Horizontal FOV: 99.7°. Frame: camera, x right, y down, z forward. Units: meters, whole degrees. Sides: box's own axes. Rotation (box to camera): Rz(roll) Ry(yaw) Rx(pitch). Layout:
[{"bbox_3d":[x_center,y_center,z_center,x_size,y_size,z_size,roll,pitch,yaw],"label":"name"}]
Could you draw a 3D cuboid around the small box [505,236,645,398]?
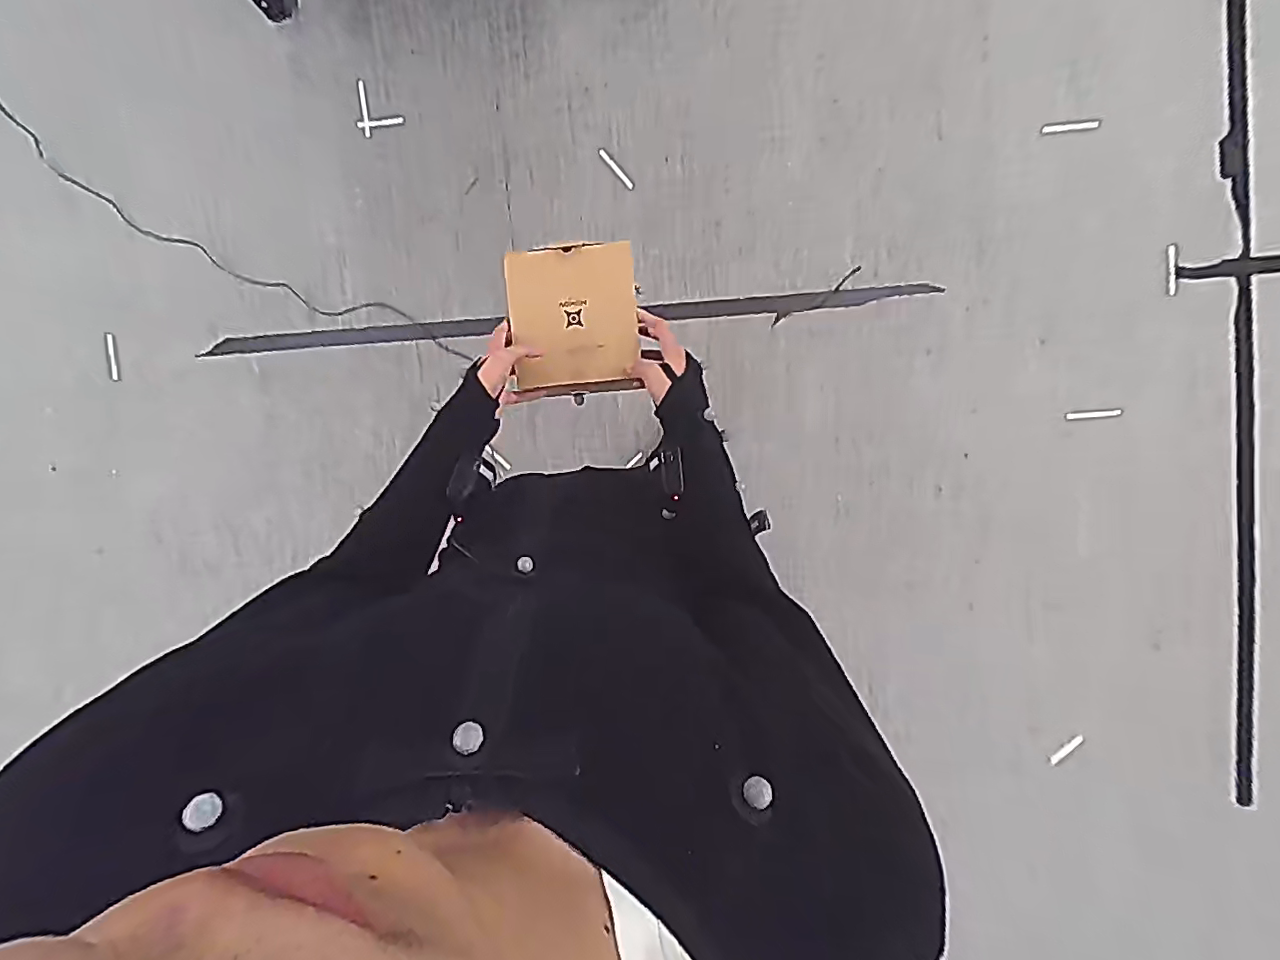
[{"bbox_3d":[-0.082,-0.216,0.759,0.168,0.176,0.179,-5,94,2],"label":"small box"}]
